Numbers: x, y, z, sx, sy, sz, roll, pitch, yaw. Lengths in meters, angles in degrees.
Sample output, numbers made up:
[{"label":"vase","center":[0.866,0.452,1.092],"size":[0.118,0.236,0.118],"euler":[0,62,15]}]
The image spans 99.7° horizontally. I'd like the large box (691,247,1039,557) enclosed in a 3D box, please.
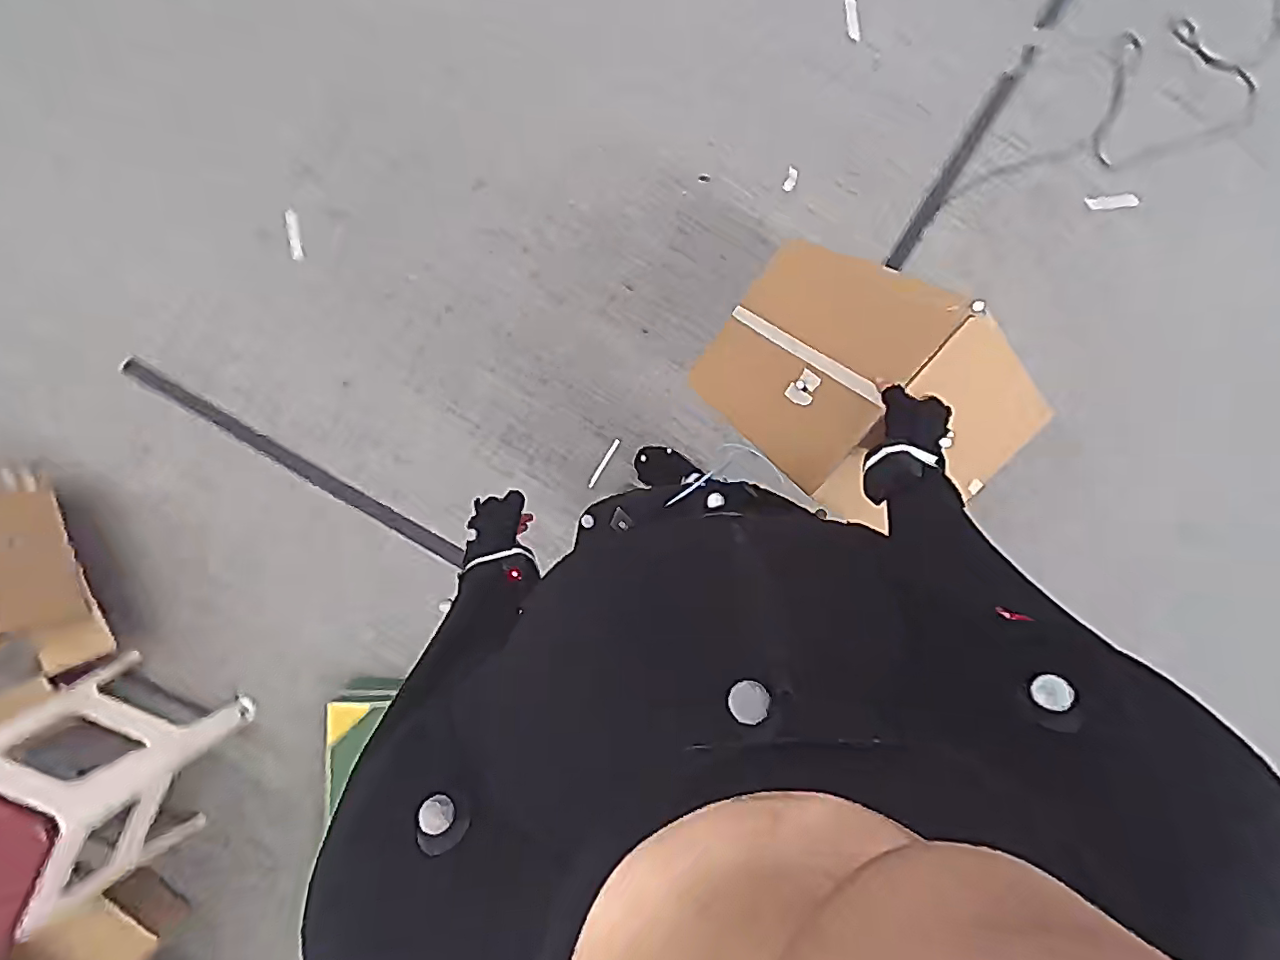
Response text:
[{"label":"large box","center":[0.364,-0.140,0.941],"size":[0.320,0.408,0.320],"euler":[27,110,-37]}]
